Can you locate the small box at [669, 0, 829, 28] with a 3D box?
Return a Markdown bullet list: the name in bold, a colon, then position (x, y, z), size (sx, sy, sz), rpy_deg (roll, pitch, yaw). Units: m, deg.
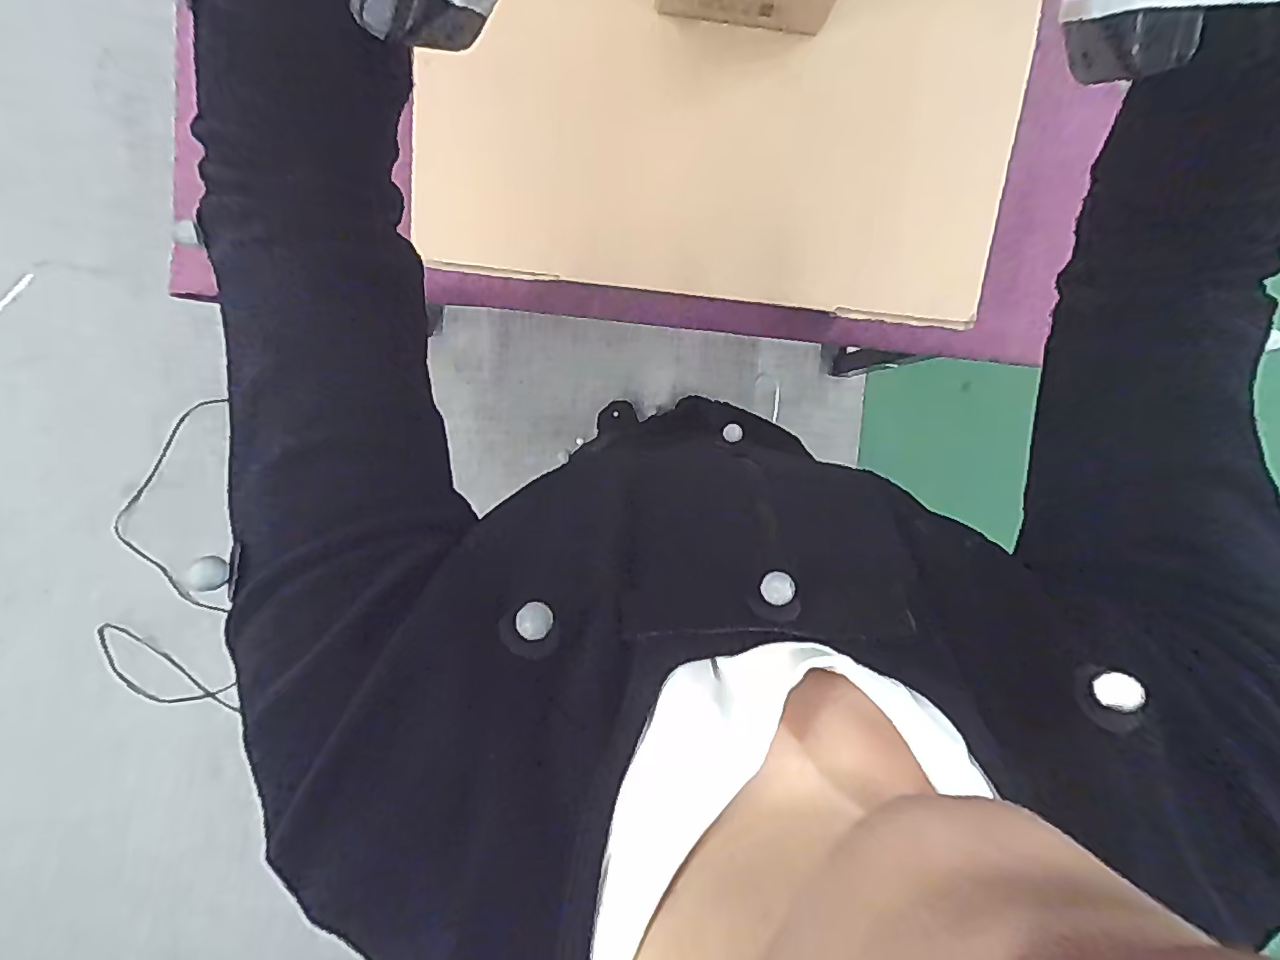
- **small box**: position (0.107, -0.527, 0.435), size (0.168, 0.176, 0.179), rpy_deg (6, 95, -2)
